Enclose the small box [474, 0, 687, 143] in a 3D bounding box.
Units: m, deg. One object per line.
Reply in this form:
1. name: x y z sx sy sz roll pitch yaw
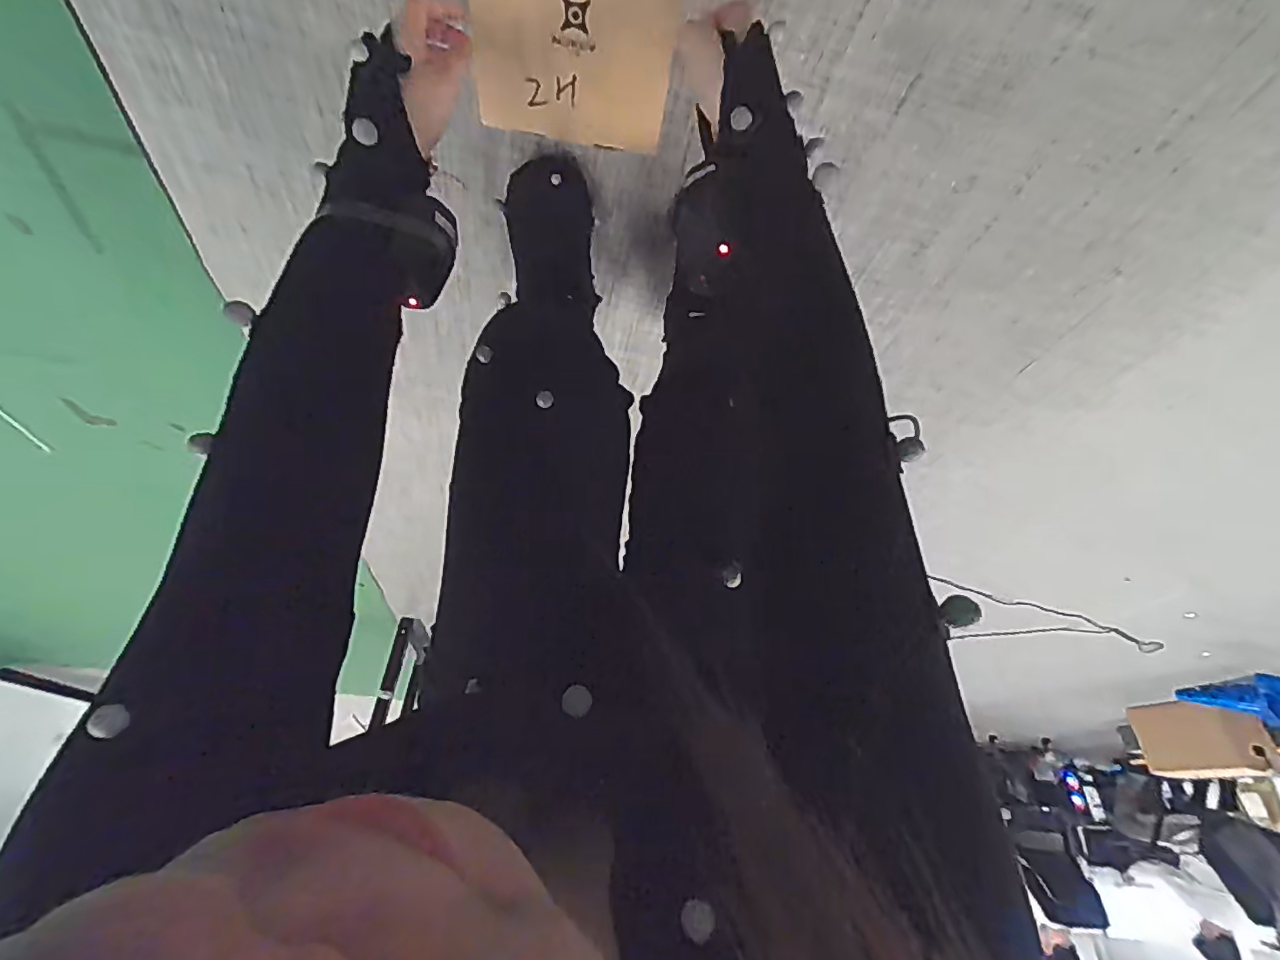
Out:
1. small box: -0.043 -0.433 0.462 0.168 0.176 0.179 8 147 -5
